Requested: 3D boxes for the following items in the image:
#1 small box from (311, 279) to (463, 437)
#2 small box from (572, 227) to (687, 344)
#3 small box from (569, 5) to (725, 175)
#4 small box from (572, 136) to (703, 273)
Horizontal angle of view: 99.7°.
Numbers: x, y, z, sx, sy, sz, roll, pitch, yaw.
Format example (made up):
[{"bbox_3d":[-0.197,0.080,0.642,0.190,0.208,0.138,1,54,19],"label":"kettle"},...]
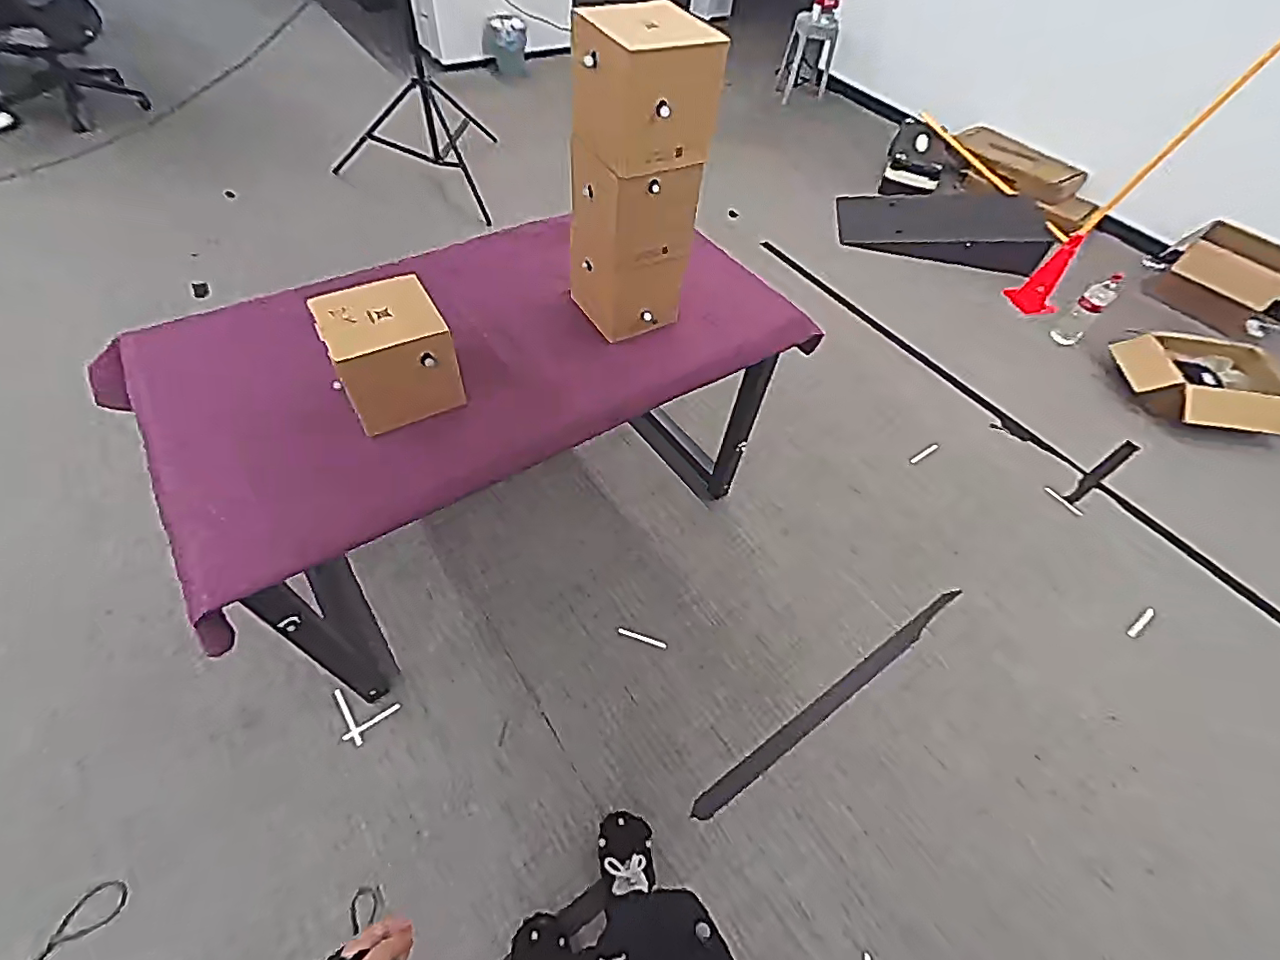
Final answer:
[{"bbox_3d":[-0.415,-0.204,0.916,0.179,0.176,0.168,-25,60,-21],"label":"small box"},{"bbox_3d":[-0.029,-0.411,1.104,0.168,0.176,0.179,-26,61,-21],"label":"small box"},{"bbox_3d":[0.004,-0.594,0.835,0.168,0.176,0.179,-24,60,-20],"label":"small box"},{"bbox_3d":[-0.013,-0.503,0.970,0.168,0.176,0.179,-24,59,-20],"label":"small box"}]
